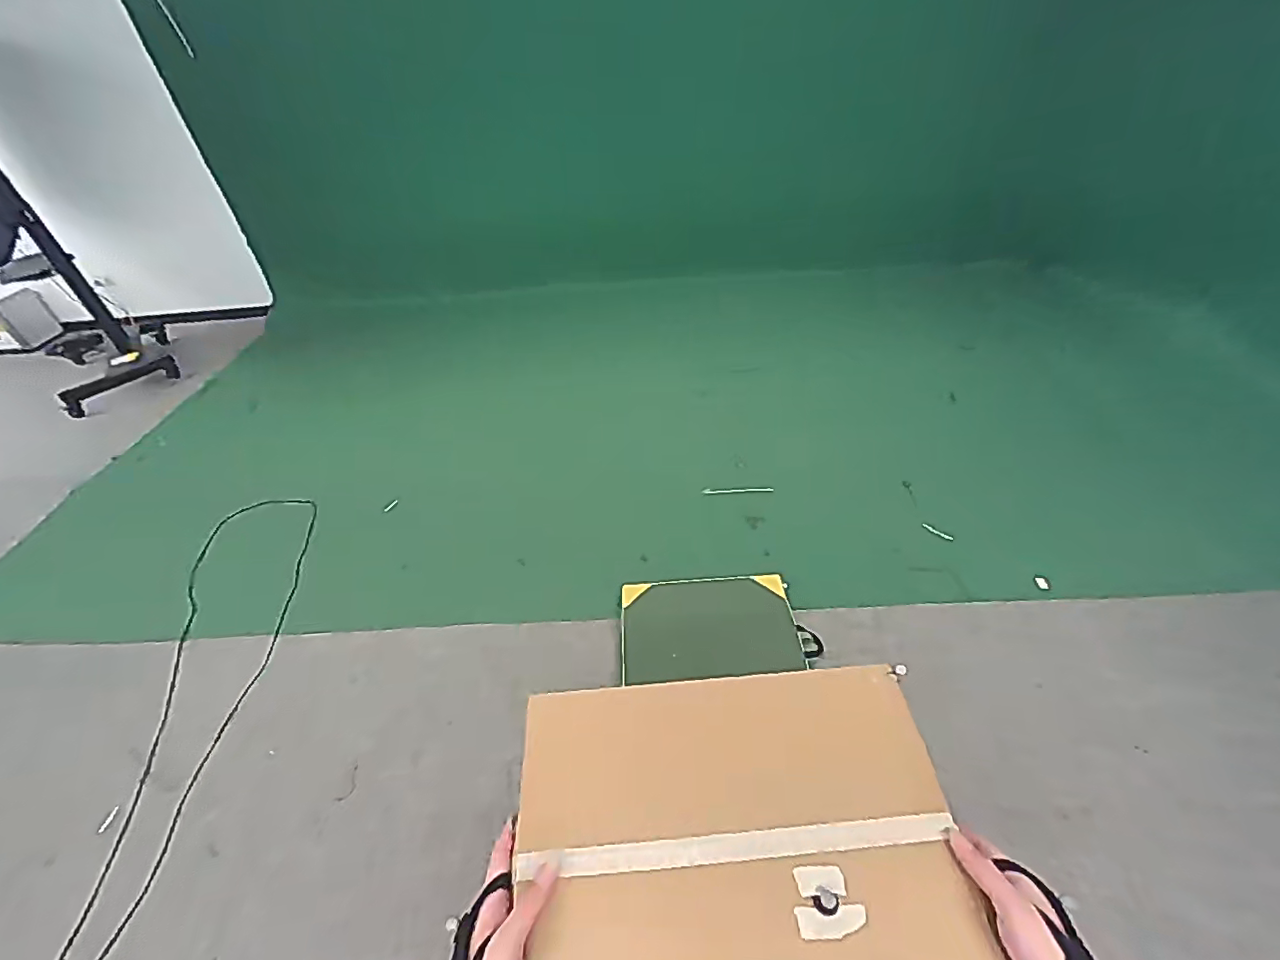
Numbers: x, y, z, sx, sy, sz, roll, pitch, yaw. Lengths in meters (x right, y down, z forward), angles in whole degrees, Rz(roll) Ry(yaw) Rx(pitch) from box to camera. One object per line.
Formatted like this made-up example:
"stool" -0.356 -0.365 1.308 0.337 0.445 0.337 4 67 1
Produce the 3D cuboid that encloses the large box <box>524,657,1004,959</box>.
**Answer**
"large box" 0.096 0.434 0.620 0.408 0.320 0.320 -5 48 -1
